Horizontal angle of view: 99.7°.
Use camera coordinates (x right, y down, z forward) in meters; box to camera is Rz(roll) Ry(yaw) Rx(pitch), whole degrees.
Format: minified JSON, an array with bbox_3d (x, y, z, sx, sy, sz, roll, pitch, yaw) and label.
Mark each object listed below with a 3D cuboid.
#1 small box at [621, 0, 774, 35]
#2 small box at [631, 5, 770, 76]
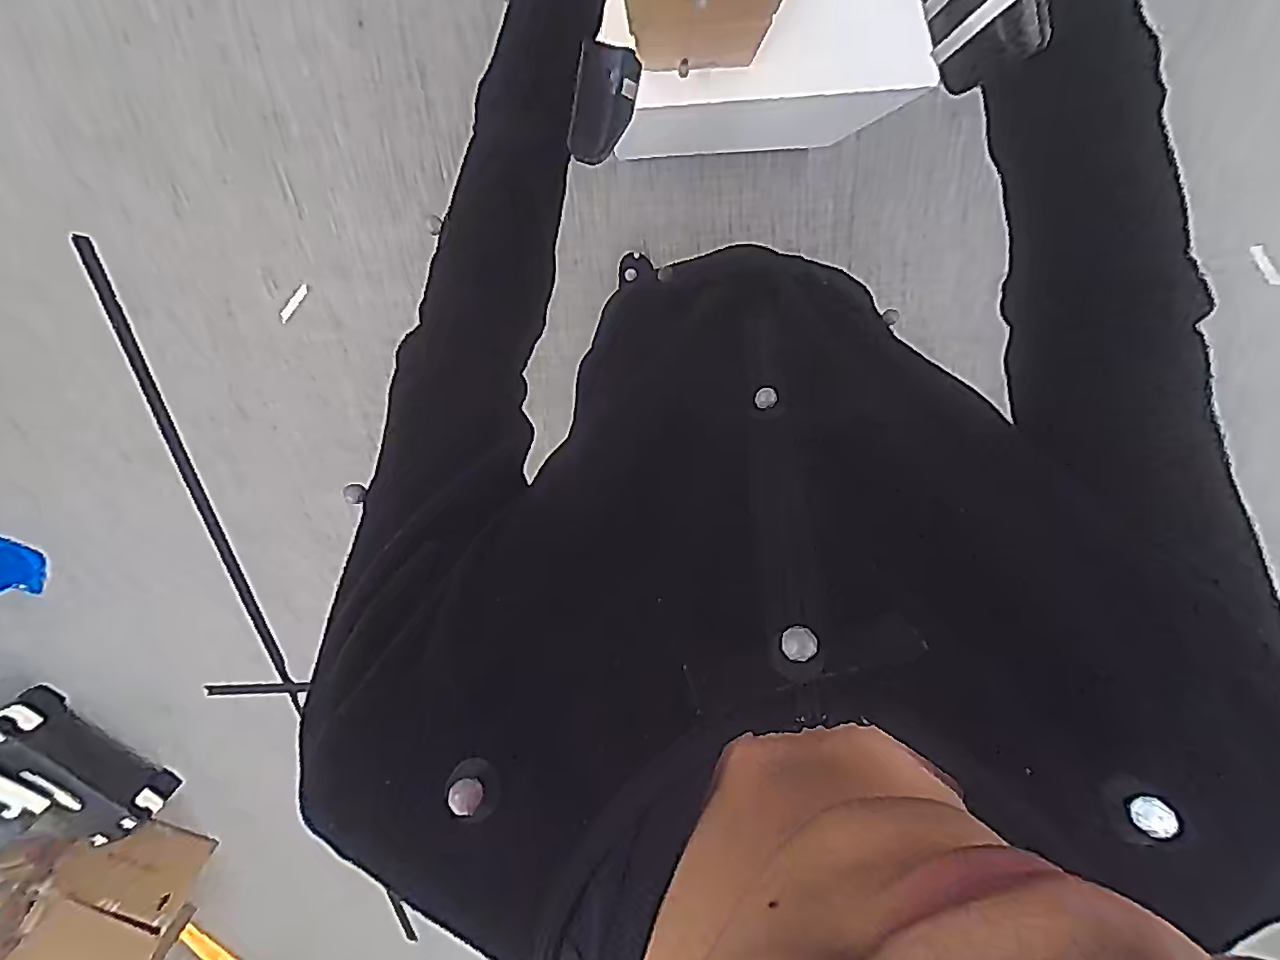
[{"bbox_3d":[0.059,-0.574,0.529,0.179,0.176,0.168,-5,112,5],"label":"small box"},{"bbox_3d":[0.070,-0.640,0.678,0.168,0.176,0.179,-1,113,2],"label":"small box"}]
